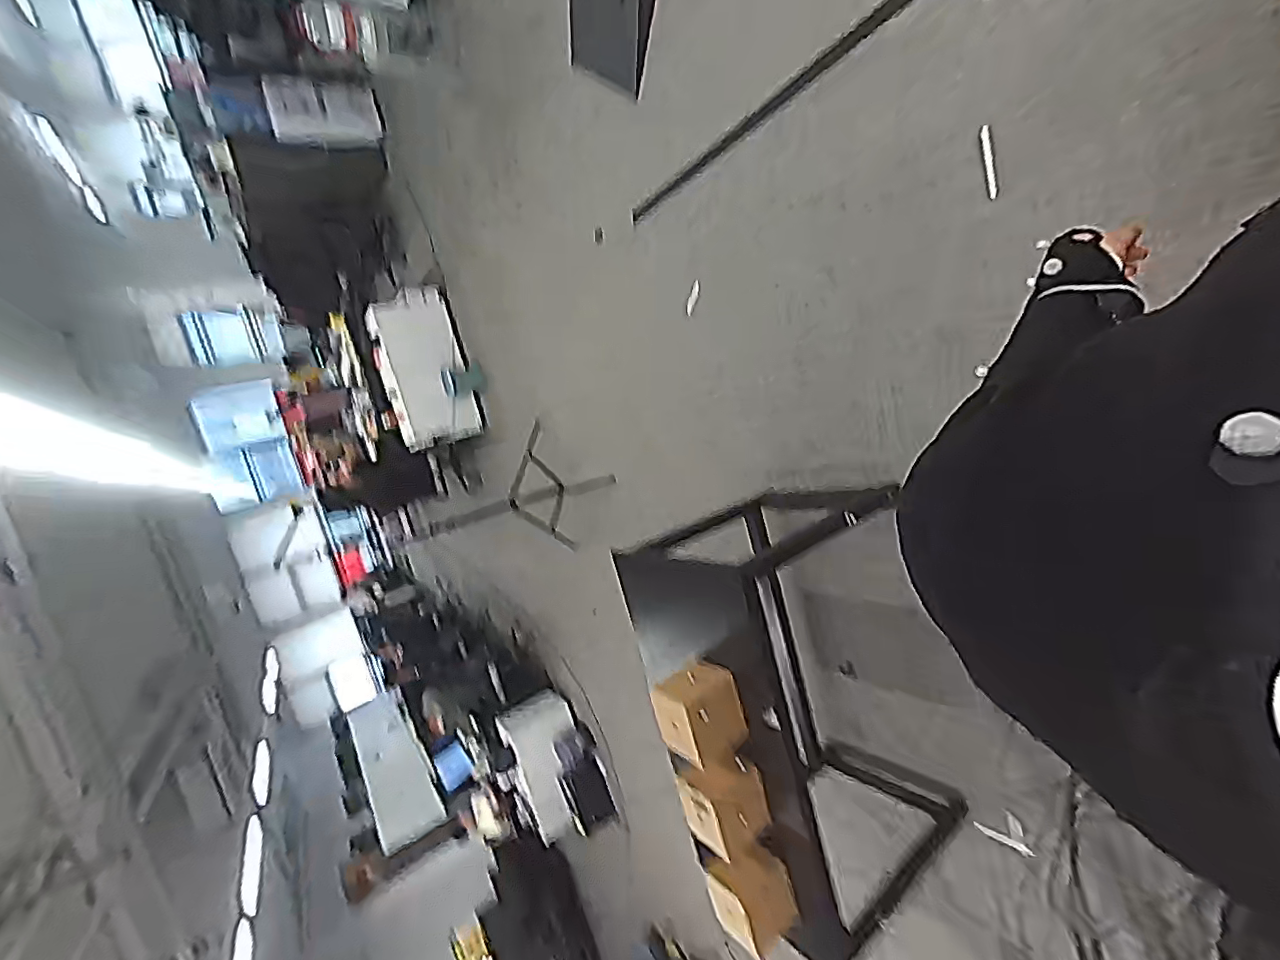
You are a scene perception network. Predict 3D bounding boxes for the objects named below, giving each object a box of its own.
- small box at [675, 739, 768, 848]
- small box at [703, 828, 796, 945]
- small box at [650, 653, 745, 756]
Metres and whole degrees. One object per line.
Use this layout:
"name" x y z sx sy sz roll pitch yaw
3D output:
"small box" 0.227 0.851 1.497 0.168 0.176 0.179 -1 107 57
"small box" 0.310 1.133 1.530 0.168 0.176 0.179 -7 102 59
"small box" 0.157 0.593 1.459 0.168 0.176 0.179 -3 104 58
